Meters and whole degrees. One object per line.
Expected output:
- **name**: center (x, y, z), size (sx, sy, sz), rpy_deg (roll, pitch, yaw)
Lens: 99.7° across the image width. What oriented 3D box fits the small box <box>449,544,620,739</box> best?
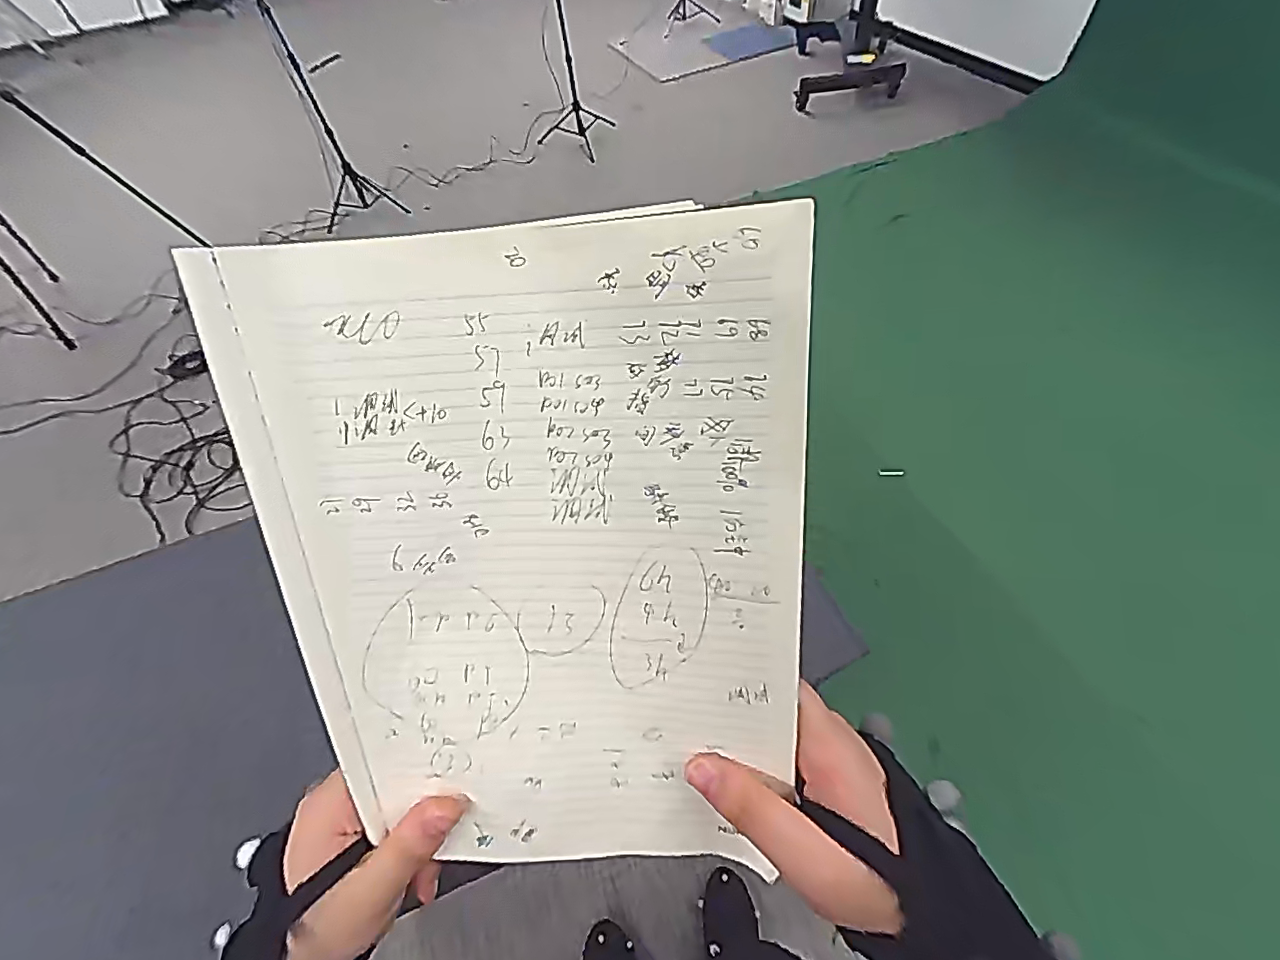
- **small box**: center (-0.122, 0.206, 0.680), size (0.168, 0.176, 0.179), rpy_deg (-10, 54, 0)
